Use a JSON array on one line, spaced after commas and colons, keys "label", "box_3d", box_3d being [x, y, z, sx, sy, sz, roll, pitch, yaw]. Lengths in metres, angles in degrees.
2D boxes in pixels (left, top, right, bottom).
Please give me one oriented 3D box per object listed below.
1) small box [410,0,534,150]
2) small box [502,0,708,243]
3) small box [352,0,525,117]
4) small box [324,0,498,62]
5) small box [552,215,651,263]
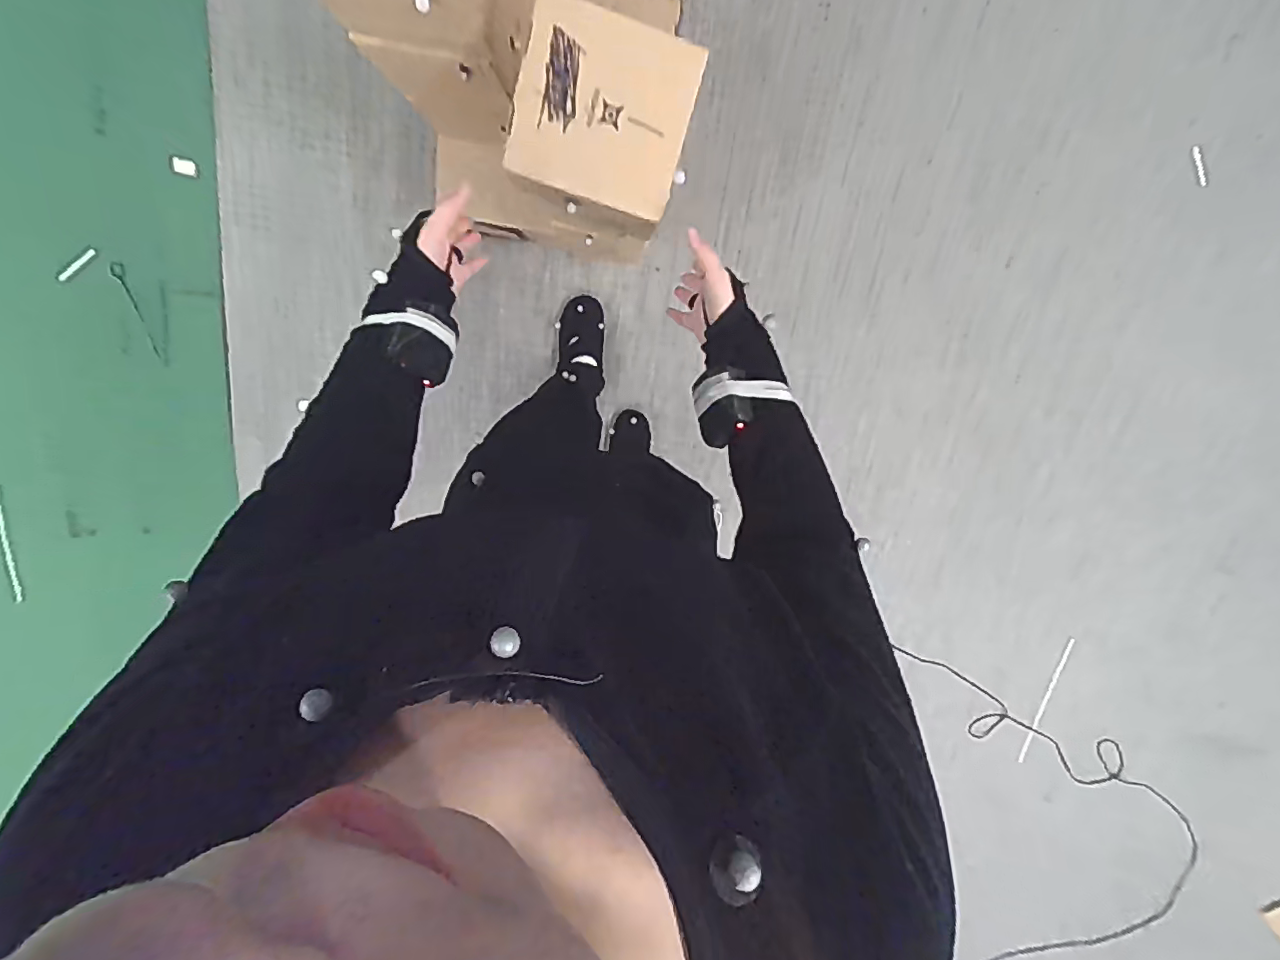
[{"label": "small box", "box_3d": [-0.259, -0.663, 0.889, 0.179, 0.176, 0.168, 6, 104, -2]}, {"label": "small box", "box_3d": [-0.041, -0.390, 0.627, 0.179, 0.176, 0.168, 16, 106, -8]}, {"label": "small box", "box_3d": [-0.262, -0.624, 0.731, 0.179, 0.176, 0.168, 7, 104, -4]}, {"label": "small box", "box_3d": [-0.248, -0.584, 0.571, 0.179, 0.176, 0.168, 8, 104, -4]}, {"label": "small box", "box_3d": [-0.050, -0.494, 0.940, 0.168, 0.176, 0.179, 12, 105, -5]}]
